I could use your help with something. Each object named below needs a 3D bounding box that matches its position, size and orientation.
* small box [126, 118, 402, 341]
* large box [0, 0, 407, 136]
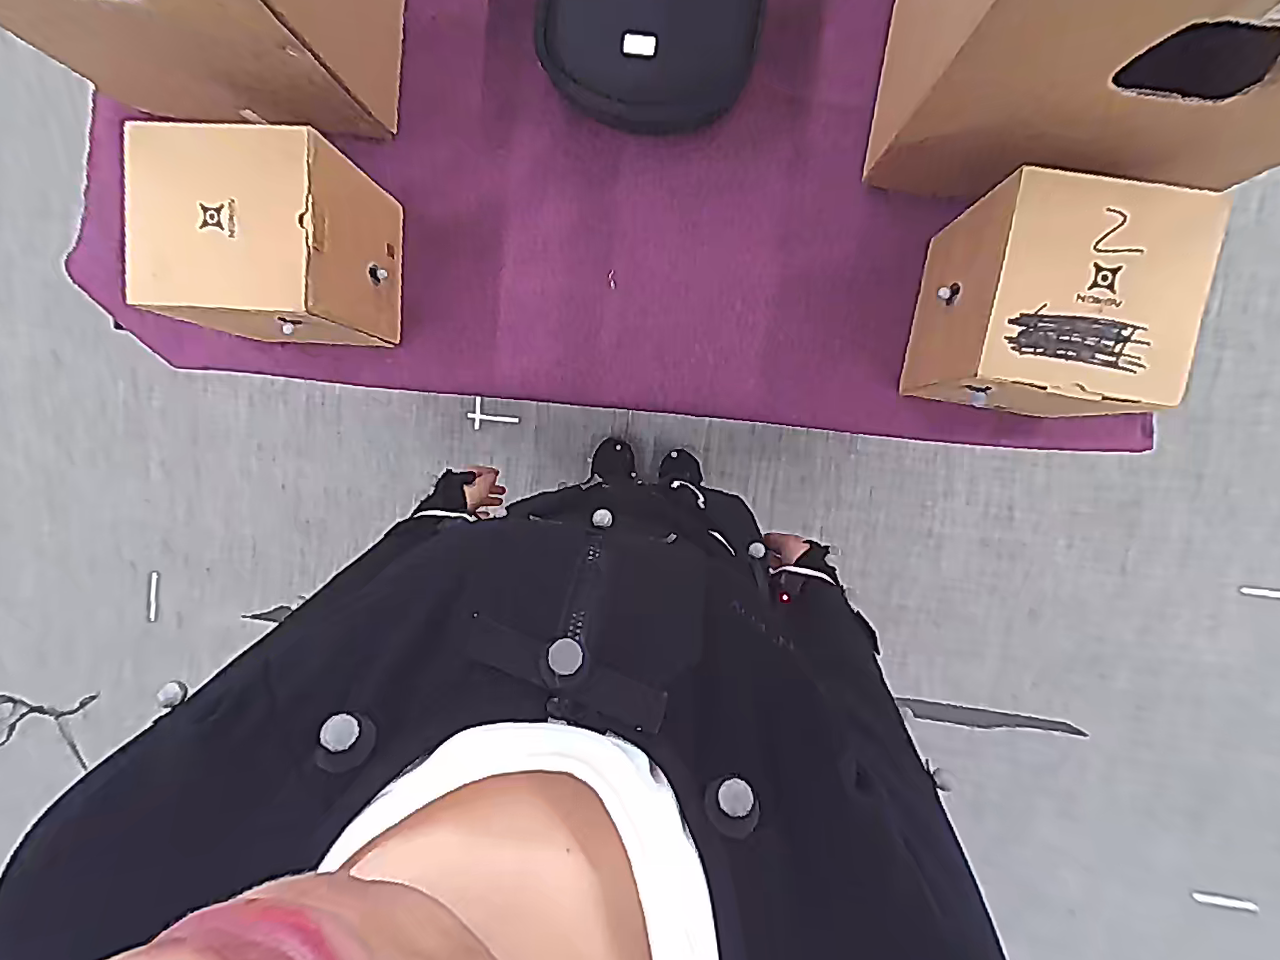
[{"bbox_3d":[-0.379,-0.246,0.570,0.179,0.176,0.168,3,94,2],"label":"small box"},{"bbox_3d":[-0.416,-0.598,0.471,0.320,0.320,0.408,6,97,2],"label":"large box"}]
